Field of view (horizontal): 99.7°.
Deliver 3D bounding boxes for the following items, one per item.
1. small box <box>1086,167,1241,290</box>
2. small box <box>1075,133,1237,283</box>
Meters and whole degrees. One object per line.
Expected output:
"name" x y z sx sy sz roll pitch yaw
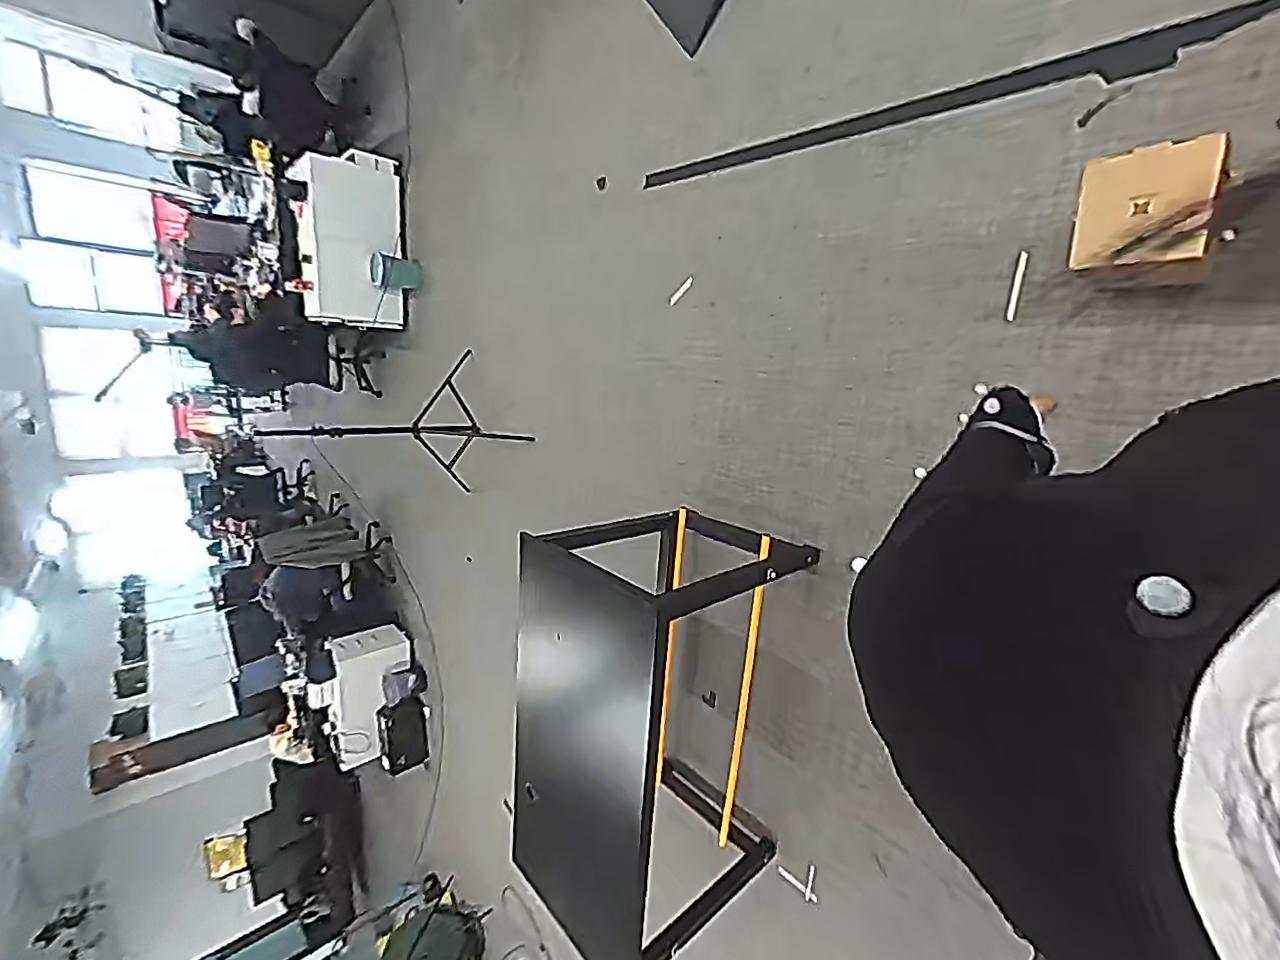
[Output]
"small box" 0.983 -0.459 1.018 0.179 0.176 0.168 16 107 46
"small box" 0.865 -0.440 0.908 0.168 0.176 0.179 13 107 48
